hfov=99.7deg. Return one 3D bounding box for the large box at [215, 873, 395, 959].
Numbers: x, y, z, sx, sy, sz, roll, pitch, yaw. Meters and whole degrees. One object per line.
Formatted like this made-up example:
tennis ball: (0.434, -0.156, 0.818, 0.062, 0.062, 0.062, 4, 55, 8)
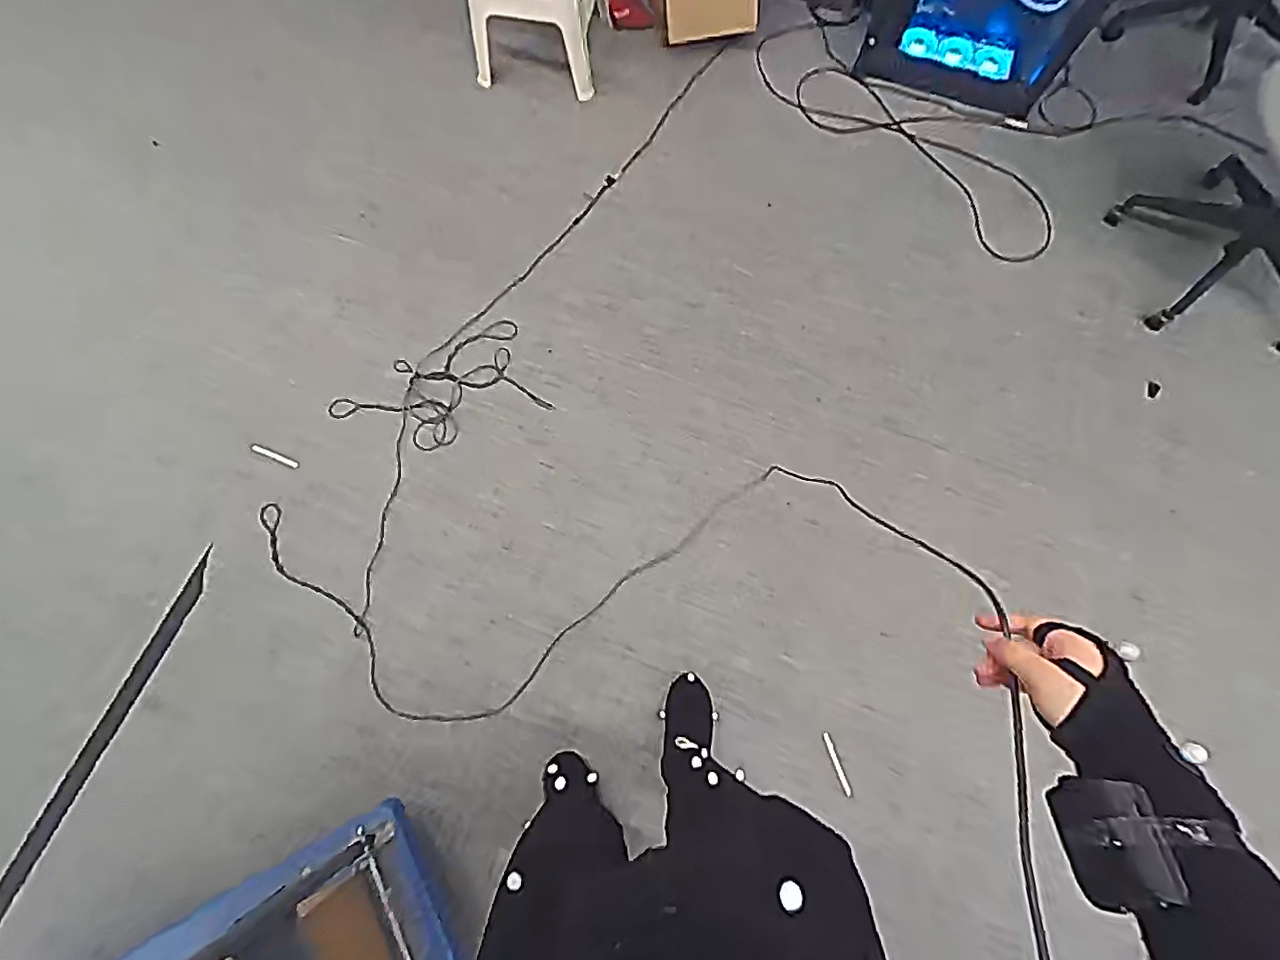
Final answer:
large box: (-0.564, 0.939, 0.823, 0.320, 0.320, 0.408, -28, 75, -9)
